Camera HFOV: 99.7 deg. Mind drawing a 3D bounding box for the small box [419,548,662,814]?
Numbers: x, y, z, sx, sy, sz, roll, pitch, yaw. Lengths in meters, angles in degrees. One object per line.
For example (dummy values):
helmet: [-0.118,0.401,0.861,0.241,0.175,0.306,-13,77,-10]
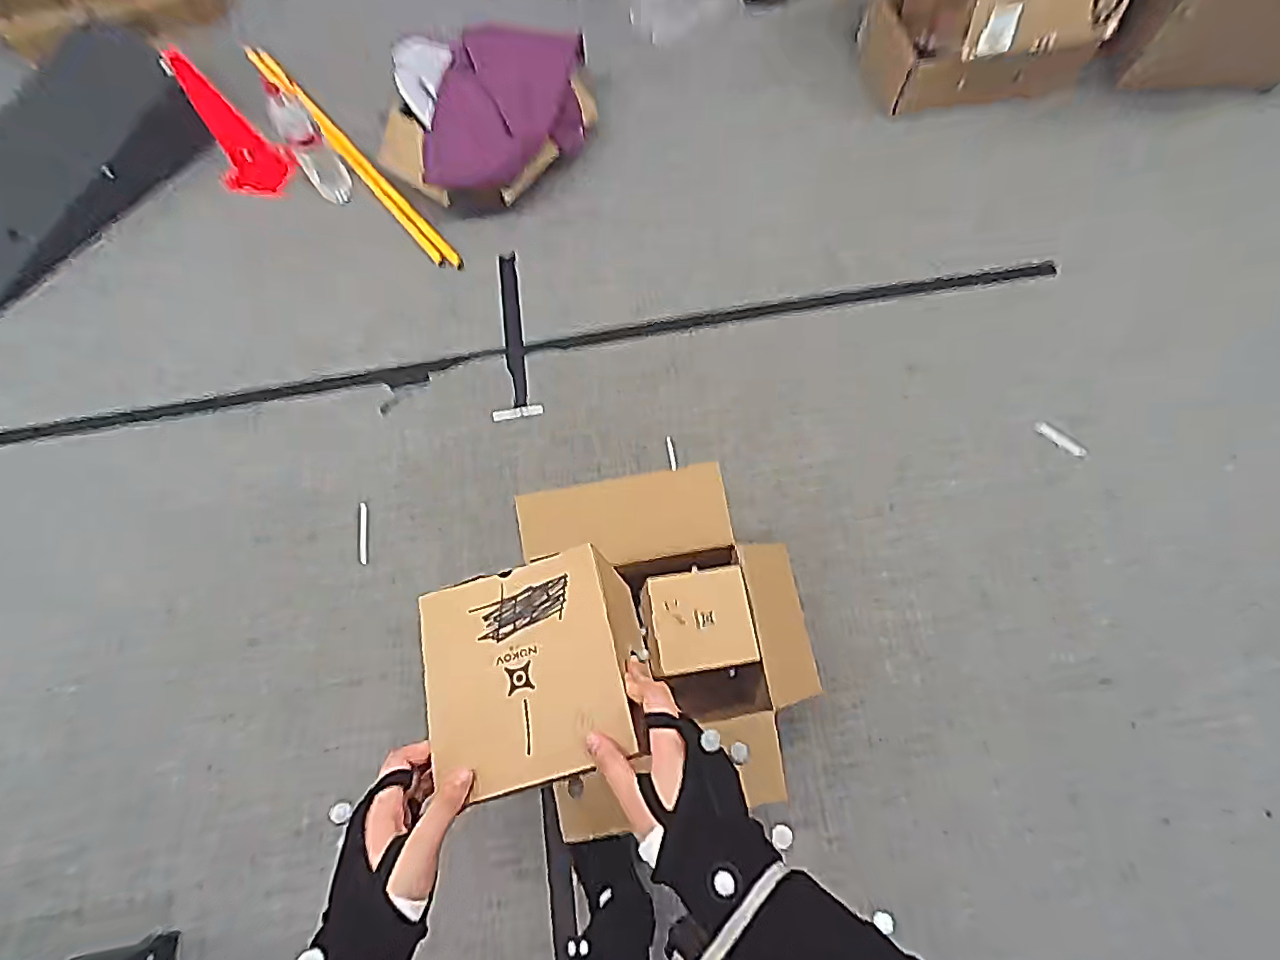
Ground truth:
small box: [-0.086,0.189,0.512,0.168,0.176,0.179,-17,64,3]
